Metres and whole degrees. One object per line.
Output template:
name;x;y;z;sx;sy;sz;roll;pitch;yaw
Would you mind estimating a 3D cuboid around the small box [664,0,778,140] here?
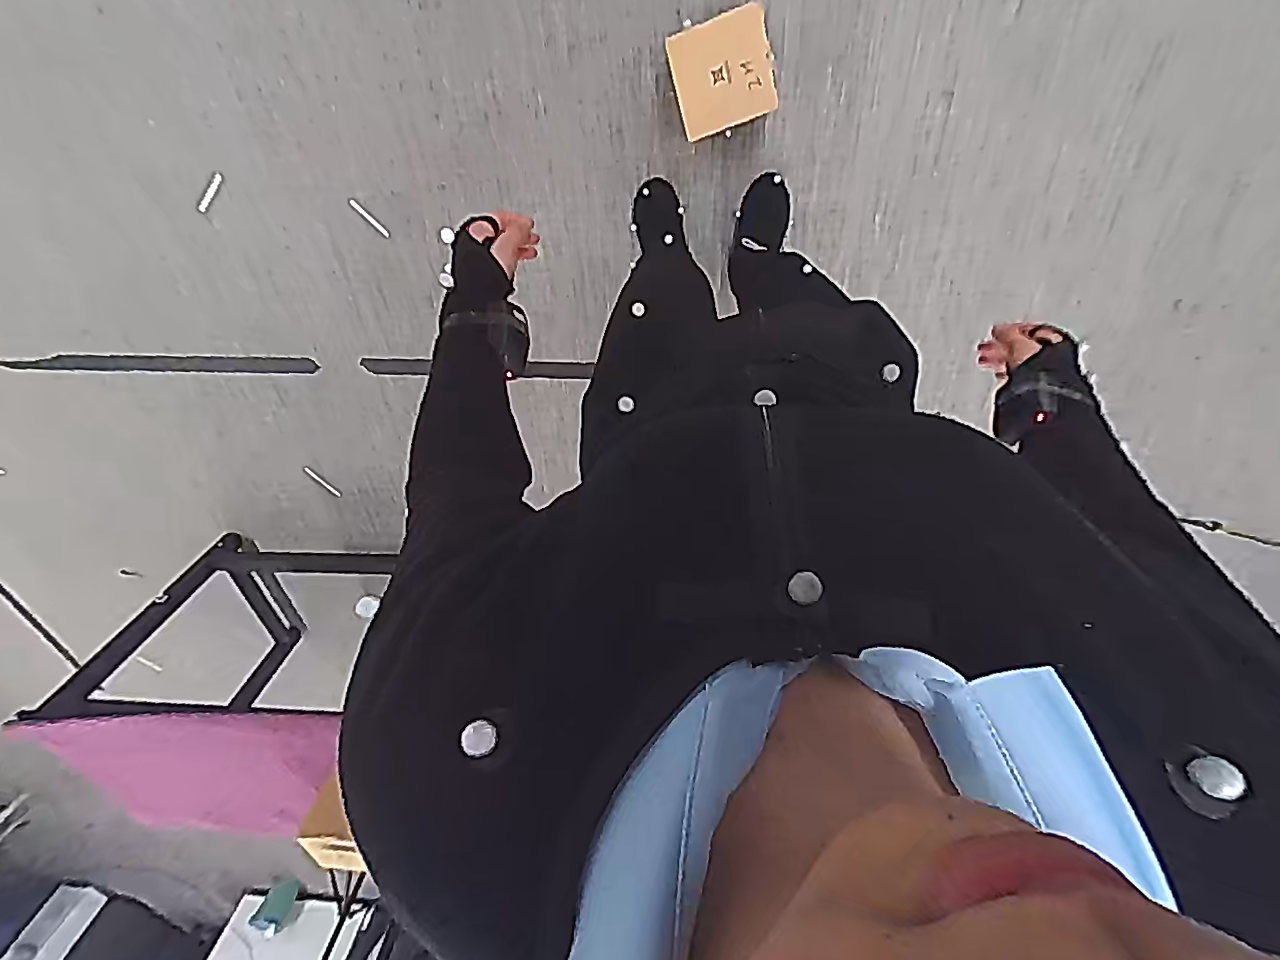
small box;0.156;-0.772;1.036;0.179;0.176;0.168;-13;122;14
